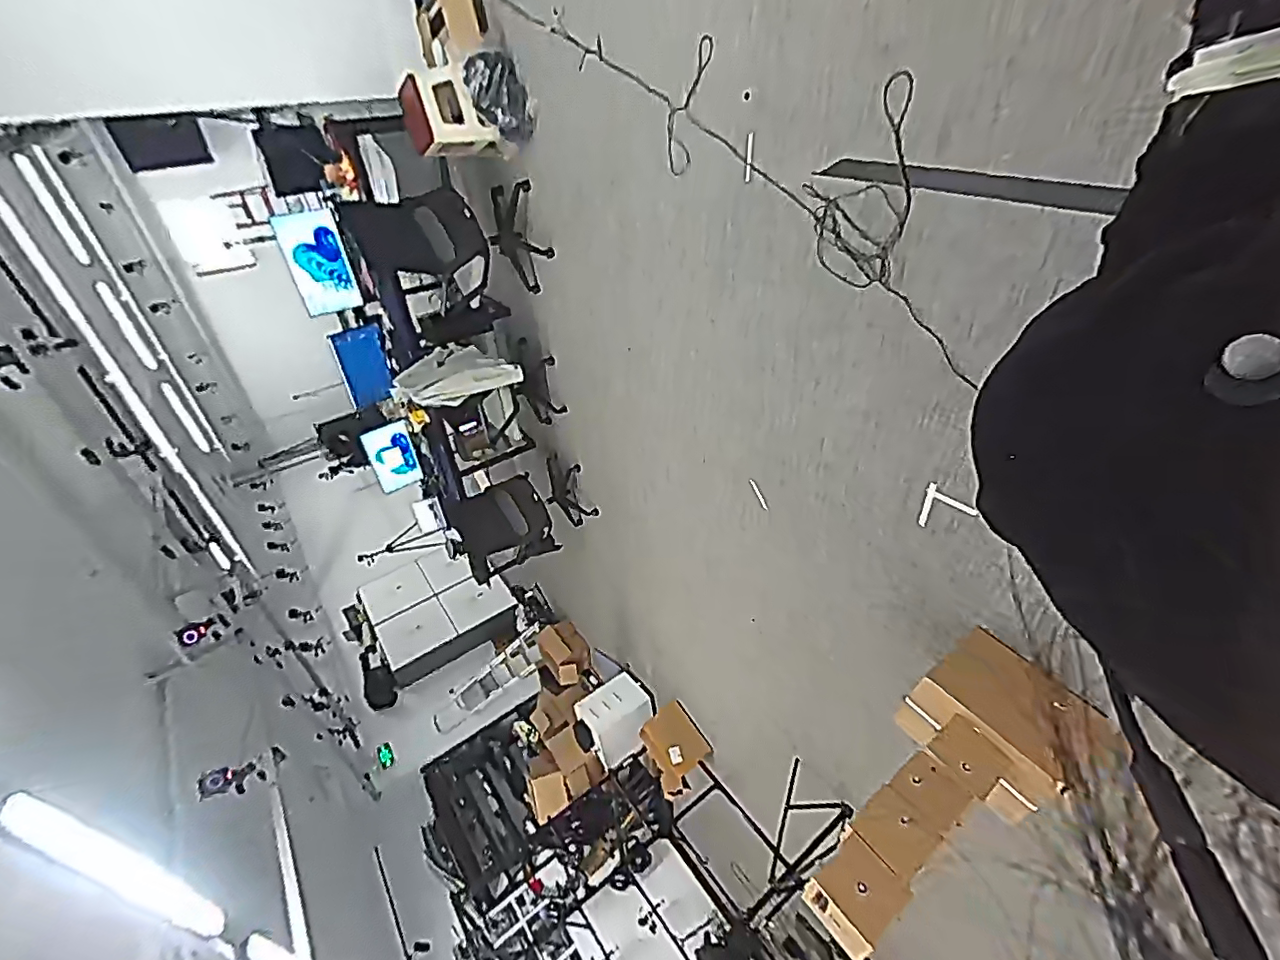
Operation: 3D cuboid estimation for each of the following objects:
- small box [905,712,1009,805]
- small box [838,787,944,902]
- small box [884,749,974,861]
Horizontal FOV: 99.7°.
[{"bbox_3d":[0.924,0.819,1.578,0.179,0.176,0.168,45,147,34],"label":"small box"},{"bbox_3d":[0.663,0.957,1.440,0.179,0.176,0.168,38,144,42],"label":"small box"},{"bbox_3d":[0.798,0.898,1.511,0.168,0.176,0.179,33,141,47],"label":"small box"}]
